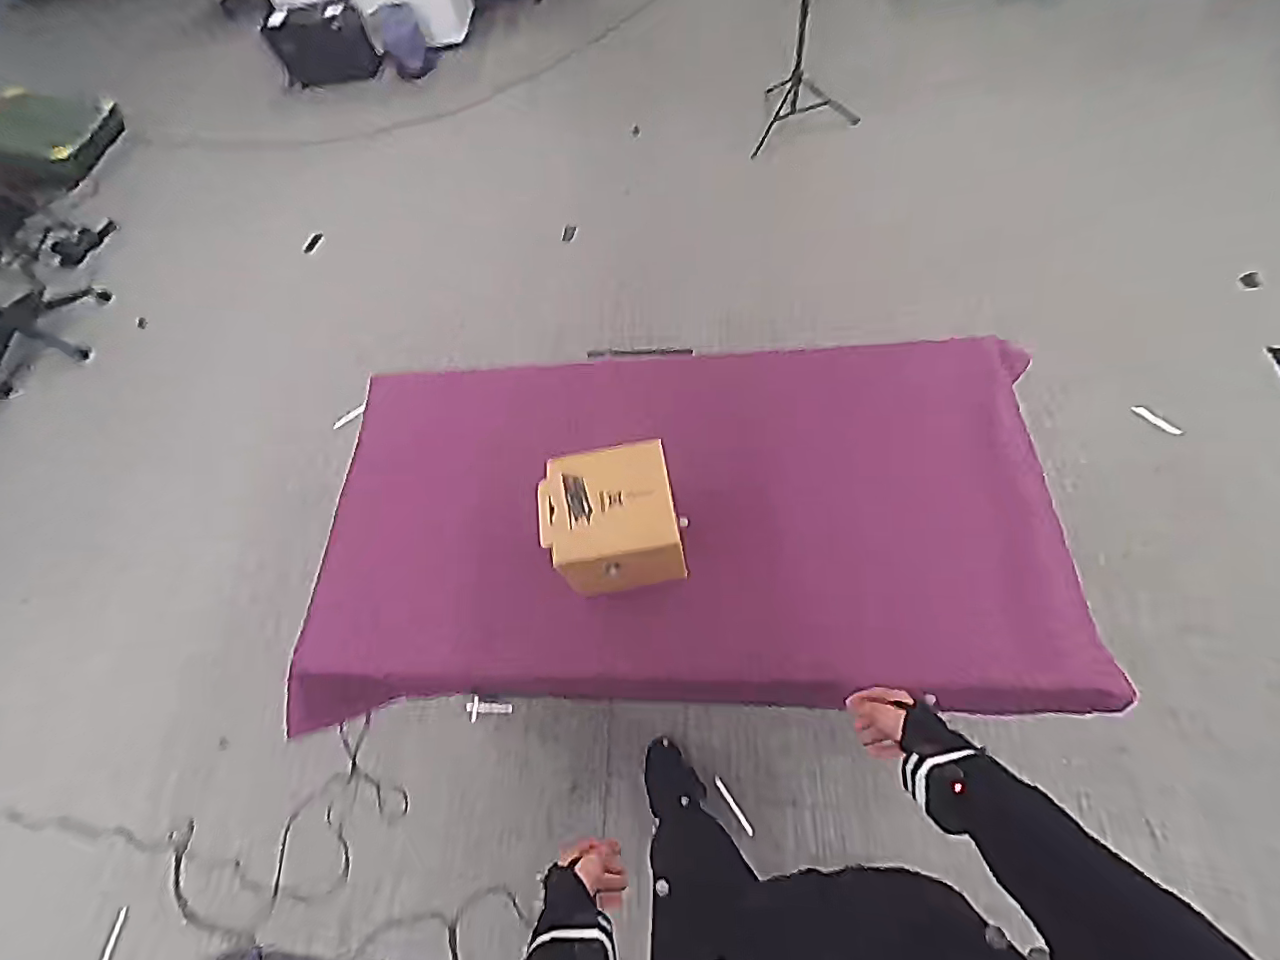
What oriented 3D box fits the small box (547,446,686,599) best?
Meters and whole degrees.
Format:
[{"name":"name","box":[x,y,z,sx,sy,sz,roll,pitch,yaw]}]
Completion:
[{"name":"small box","box":[-0.032,0.073,0.831,0.179,0.176,0.168,-11,62,3]}]
